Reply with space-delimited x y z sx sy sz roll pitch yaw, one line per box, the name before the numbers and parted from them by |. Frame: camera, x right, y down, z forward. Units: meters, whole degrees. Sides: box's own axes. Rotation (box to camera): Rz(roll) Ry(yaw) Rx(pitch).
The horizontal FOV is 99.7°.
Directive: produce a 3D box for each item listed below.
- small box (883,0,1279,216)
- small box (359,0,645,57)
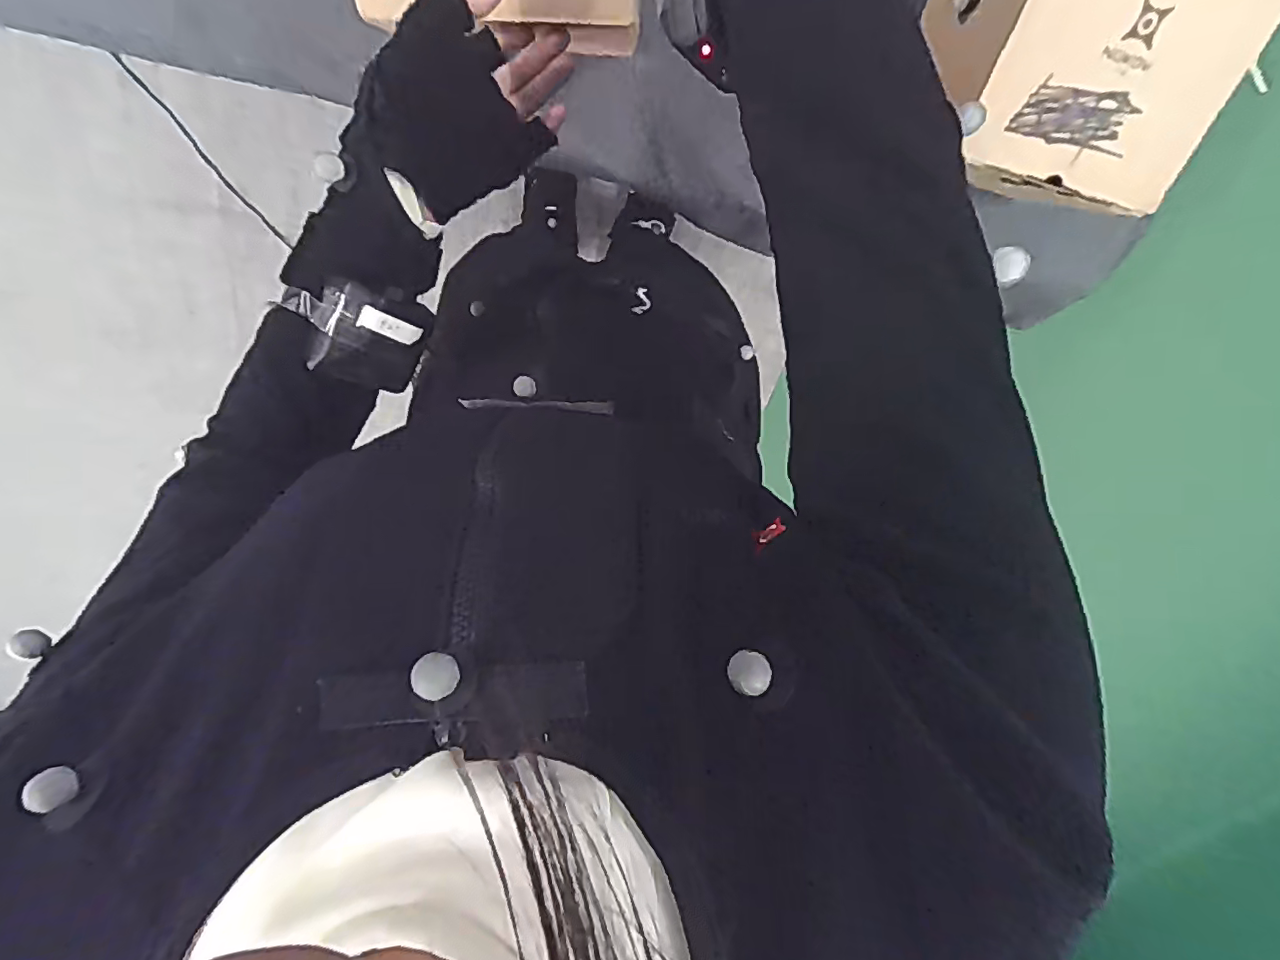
small box | 0.316 -0.325 0.414 0.168 0.176 0.179 12 121 -8
small box | -0.088 -0.398 0.361 0.179 0.176 0.168 -1 122 -2
